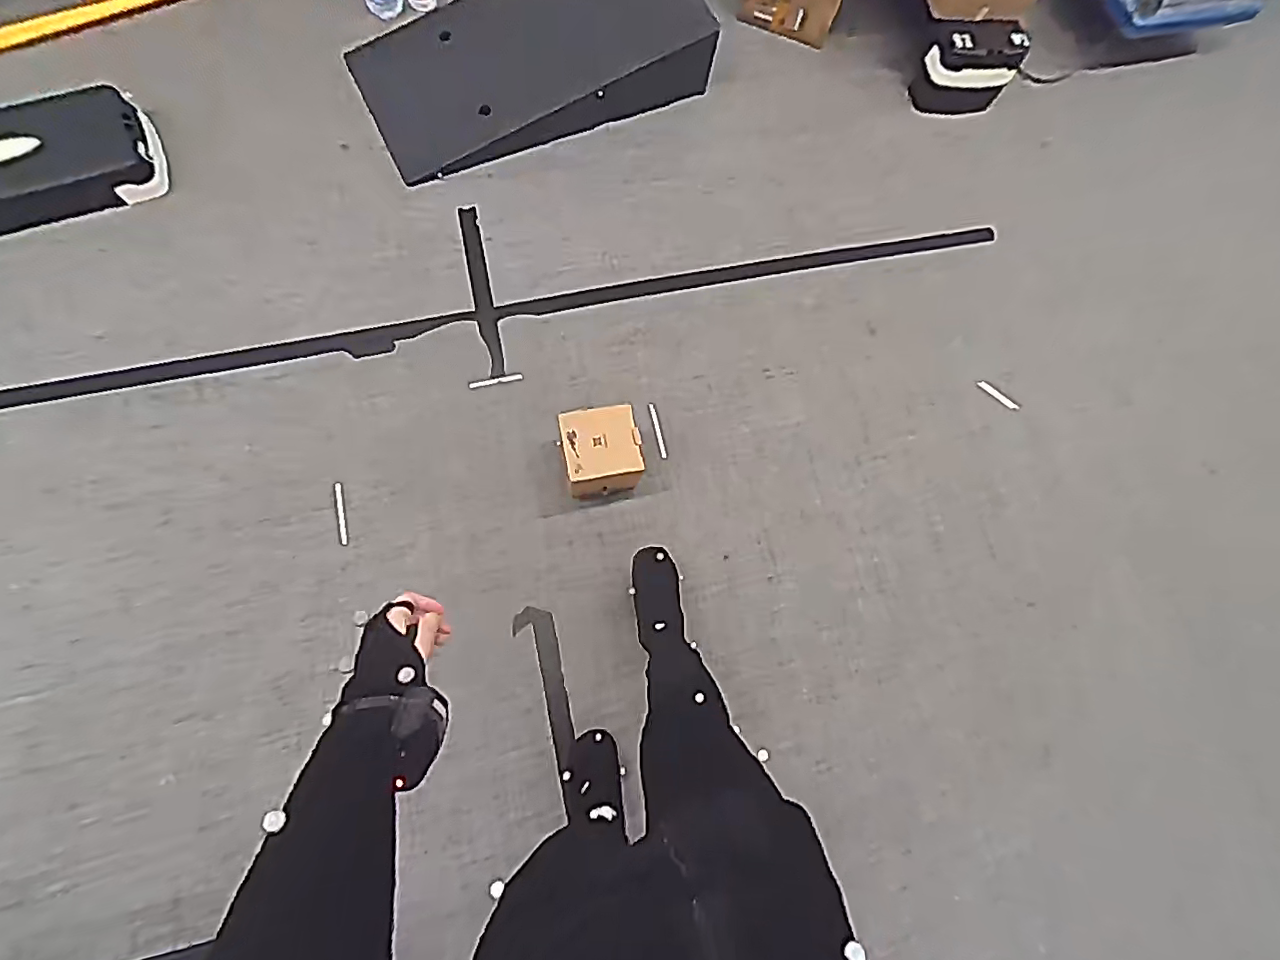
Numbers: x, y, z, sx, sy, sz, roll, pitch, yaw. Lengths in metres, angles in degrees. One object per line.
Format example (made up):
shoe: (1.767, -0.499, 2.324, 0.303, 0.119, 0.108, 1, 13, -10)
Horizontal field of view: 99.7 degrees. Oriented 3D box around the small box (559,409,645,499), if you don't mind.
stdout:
small box: (-0.098, -0.059, 1.306, 0.179, 0.176, 0.168, -9, 77, -10)
